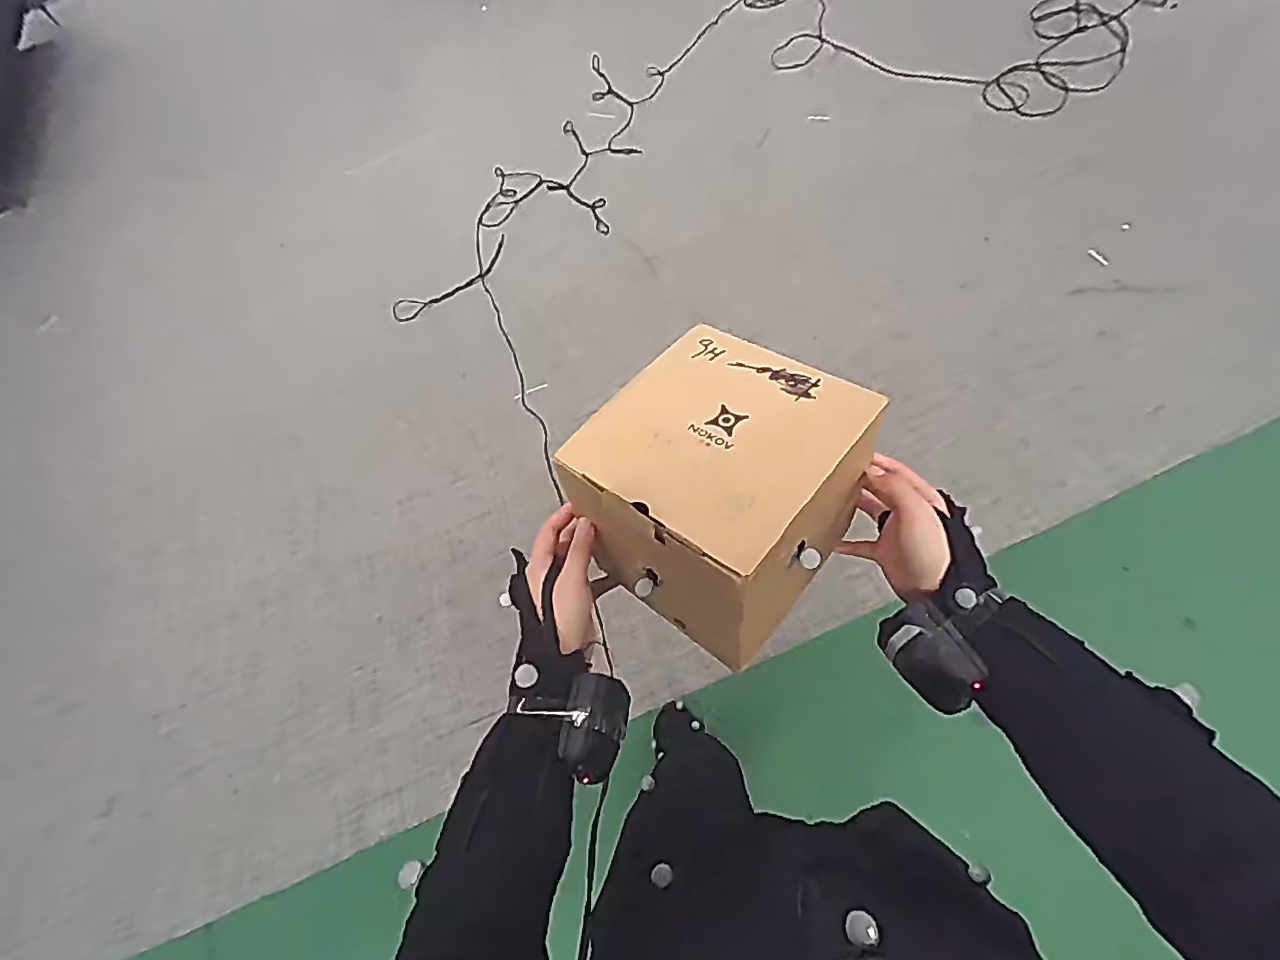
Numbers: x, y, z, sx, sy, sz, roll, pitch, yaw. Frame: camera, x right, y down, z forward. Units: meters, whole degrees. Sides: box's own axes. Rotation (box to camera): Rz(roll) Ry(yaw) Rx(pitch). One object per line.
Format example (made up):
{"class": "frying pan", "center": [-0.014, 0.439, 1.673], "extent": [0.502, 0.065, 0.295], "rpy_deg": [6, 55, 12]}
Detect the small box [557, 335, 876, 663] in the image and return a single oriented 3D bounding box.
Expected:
{"class": "small box", "center": [0.066, 0.018, 0.449], "extent": [0.168, 0.176, 0.179], "rpy_deg": [32, 64, 29]}
